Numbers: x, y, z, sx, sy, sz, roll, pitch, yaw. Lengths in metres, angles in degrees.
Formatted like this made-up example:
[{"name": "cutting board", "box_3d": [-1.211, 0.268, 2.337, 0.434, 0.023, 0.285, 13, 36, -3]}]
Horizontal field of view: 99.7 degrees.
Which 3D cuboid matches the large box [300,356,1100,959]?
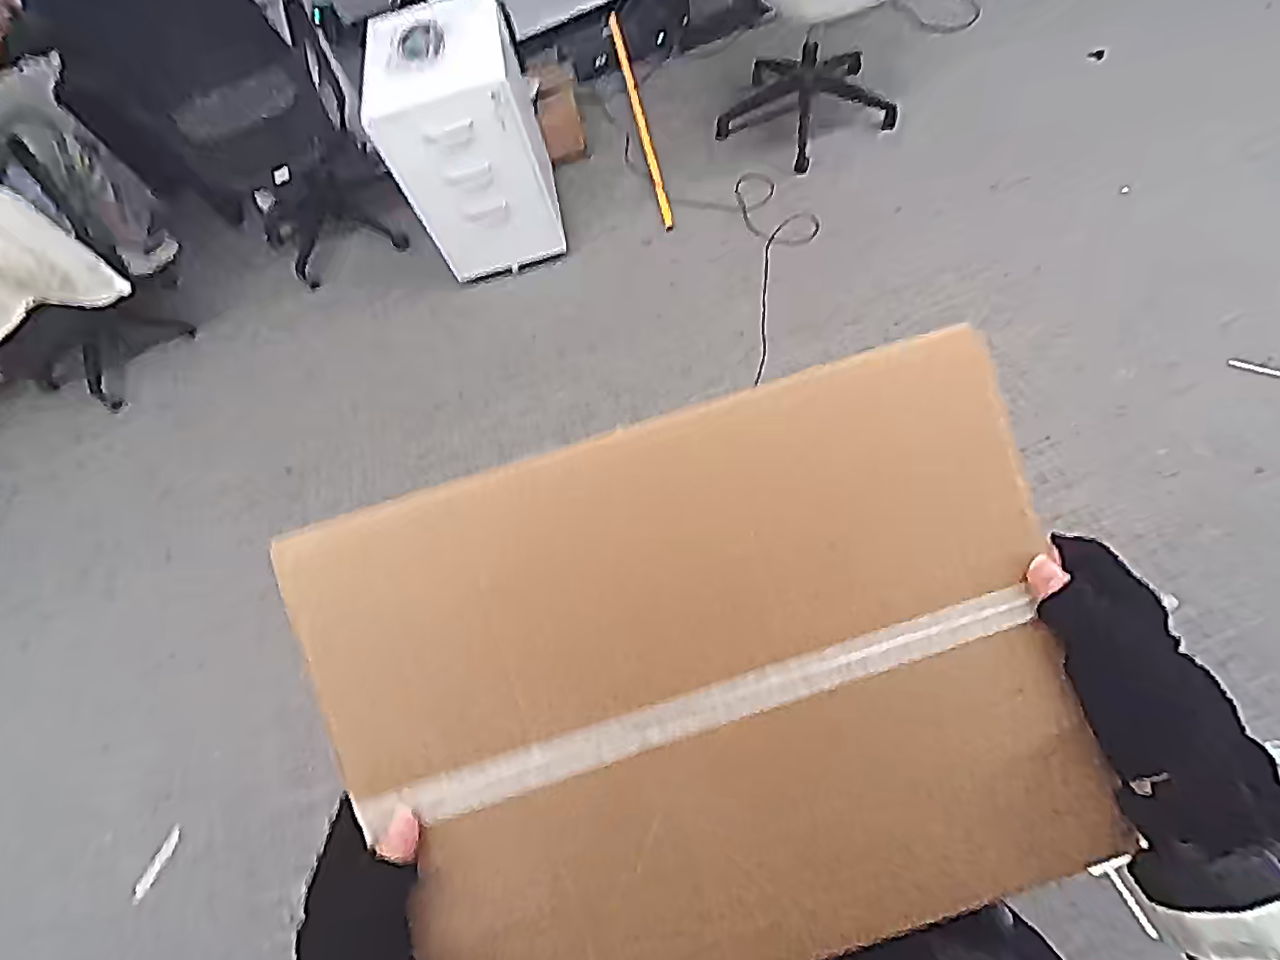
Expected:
[{"name": "large box", "box_3d": [0.038, 0.131, 0.461, 0.408, 0.320, 0.320, -19, 90, -1]}]
